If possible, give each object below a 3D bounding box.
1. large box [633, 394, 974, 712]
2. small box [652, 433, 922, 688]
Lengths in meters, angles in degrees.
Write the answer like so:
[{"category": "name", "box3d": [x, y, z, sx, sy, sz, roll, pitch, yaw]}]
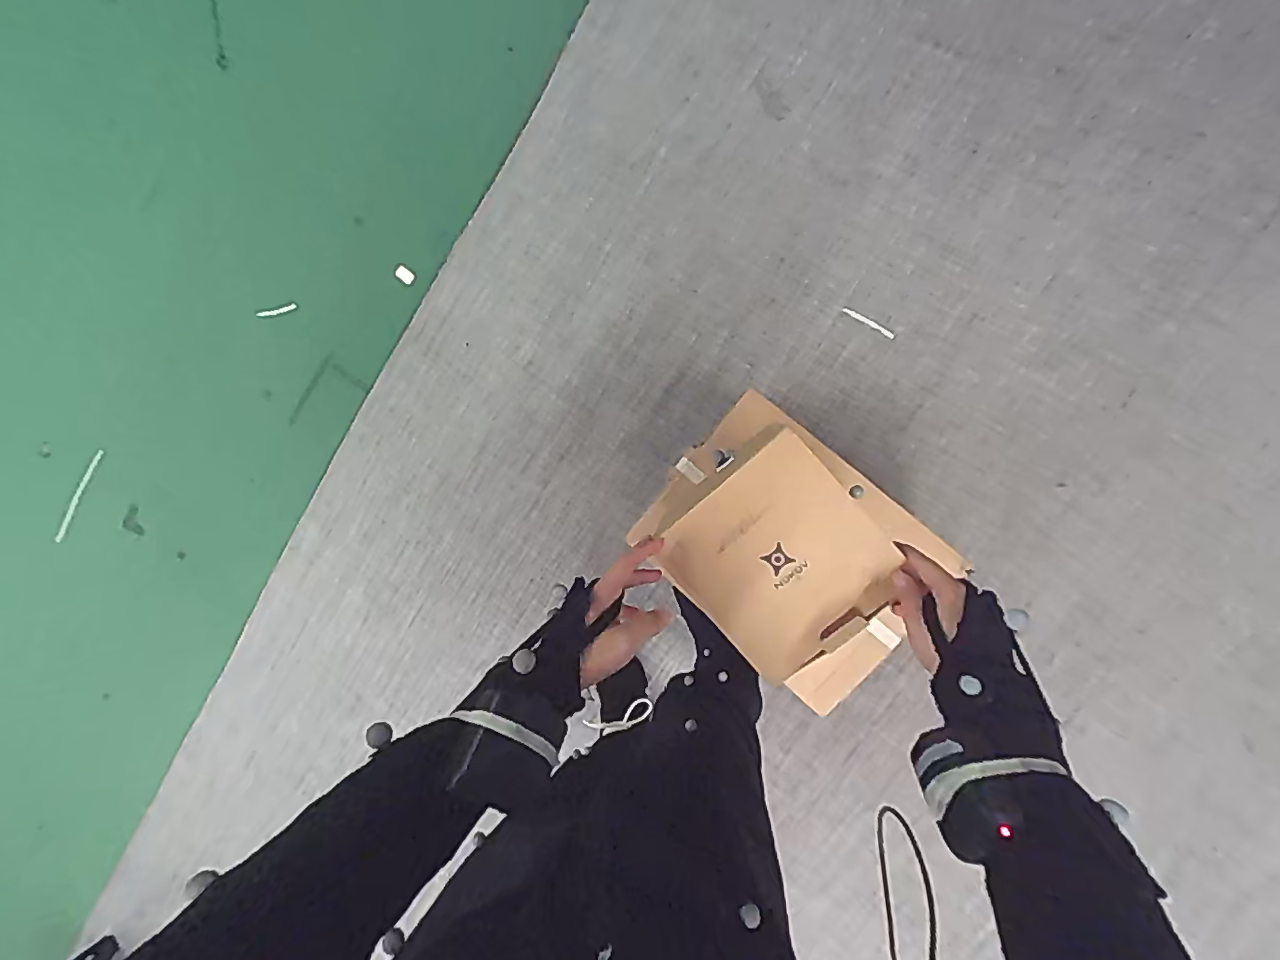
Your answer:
[{"category": "large box", "box3d": [0.258, 0.102, 0.955, 0.408, 0.320, 0.320, 41, 100, 8]}, {"category": "small box", "box3d": [0.137, 0.064, 0.551, 0.168, 0.176, 0.179, -42, 89, 10]}]
